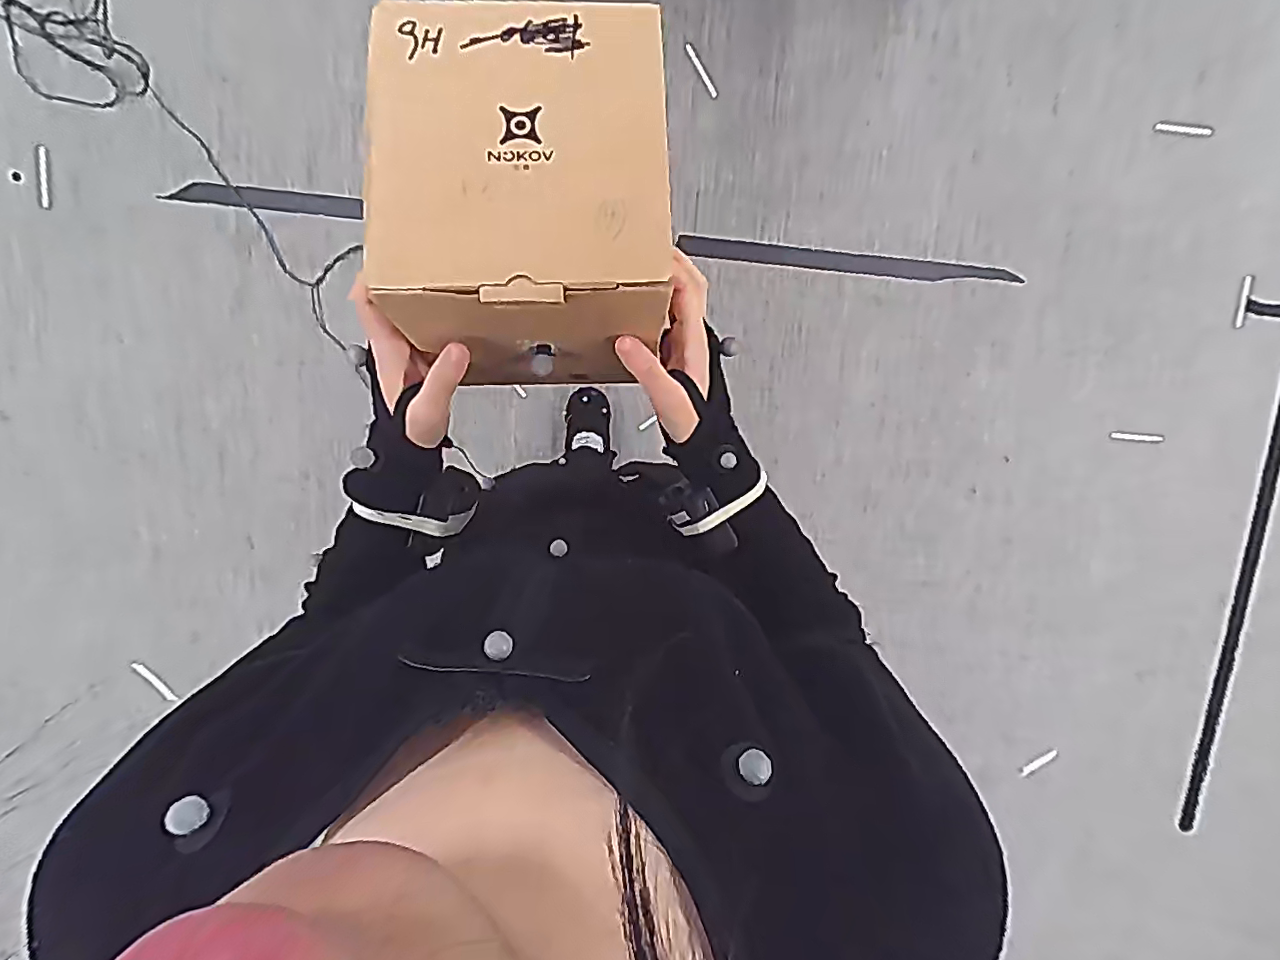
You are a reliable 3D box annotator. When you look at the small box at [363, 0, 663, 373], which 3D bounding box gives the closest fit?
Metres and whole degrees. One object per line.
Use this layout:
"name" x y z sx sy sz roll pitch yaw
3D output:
"small box" -0.072 -0.179 0.380 0.168 0.176 0.179 -1 83 -3
